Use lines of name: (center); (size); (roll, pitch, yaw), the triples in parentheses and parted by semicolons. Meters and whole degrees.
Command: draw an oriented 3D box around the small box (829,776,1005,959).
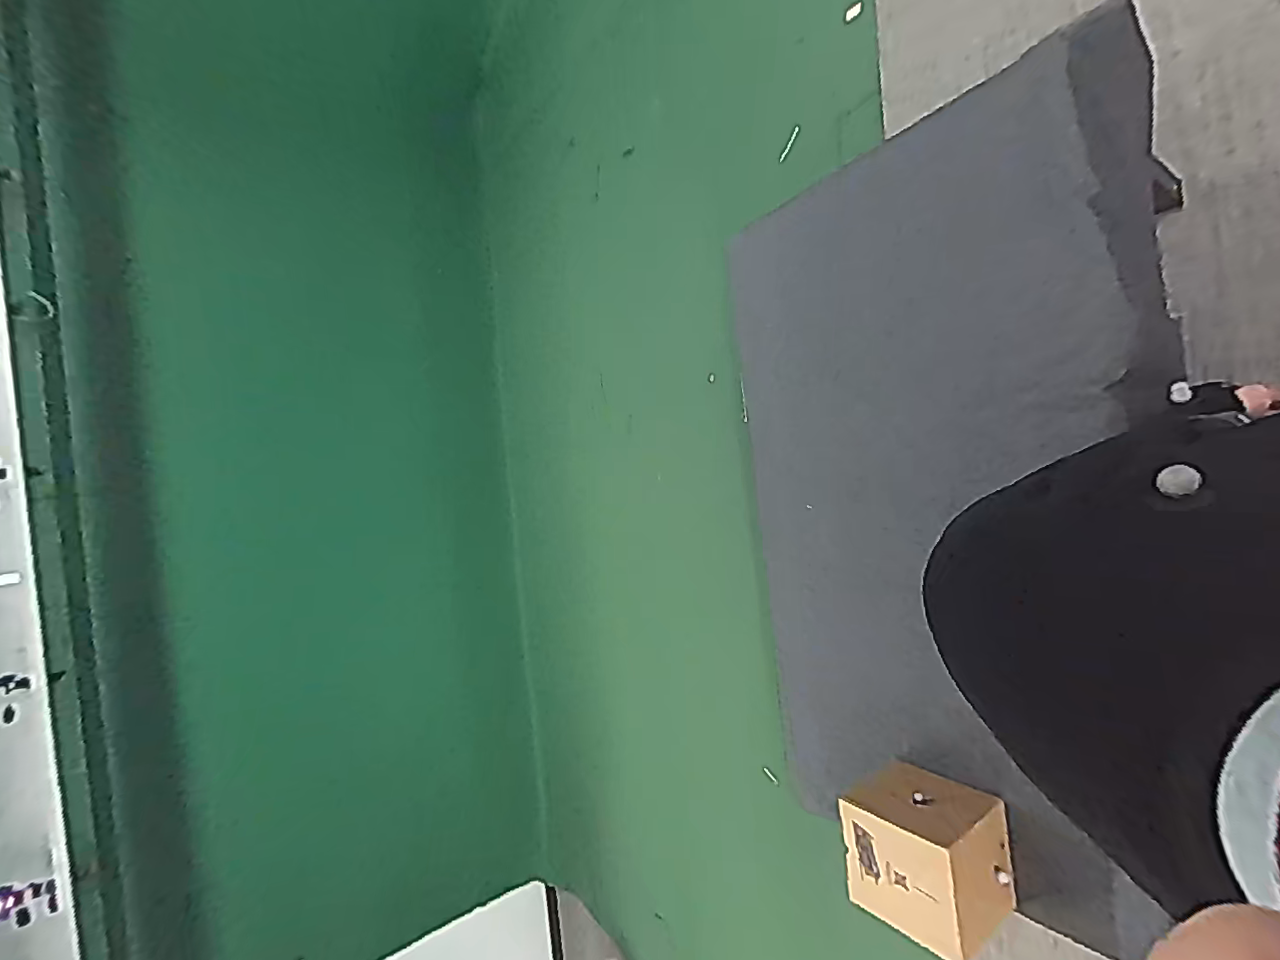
small box: (0.419, 0.583, 0.826); (0.179, 0.176, 0.168); (-8, 88, 55)
